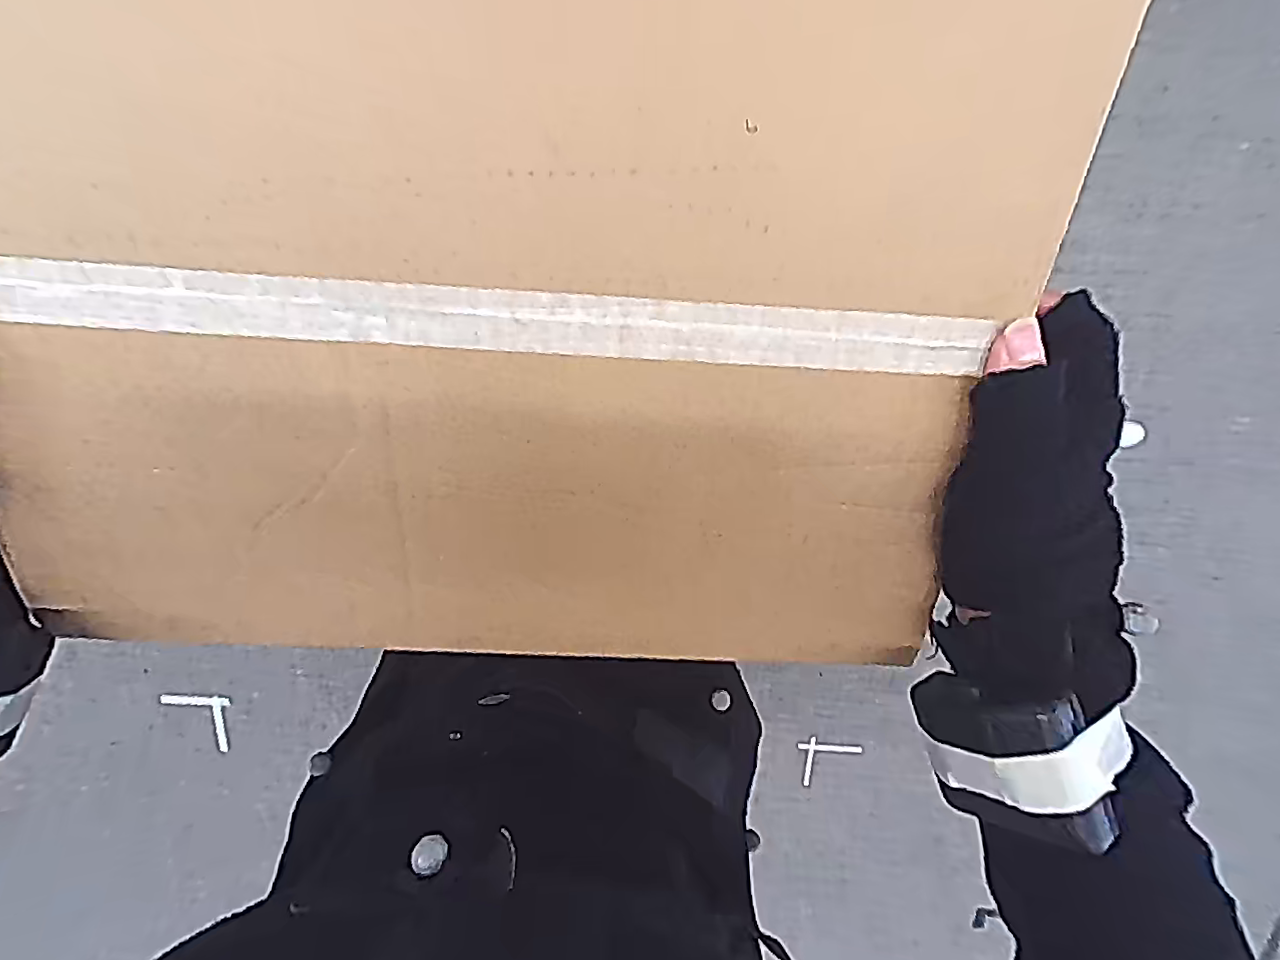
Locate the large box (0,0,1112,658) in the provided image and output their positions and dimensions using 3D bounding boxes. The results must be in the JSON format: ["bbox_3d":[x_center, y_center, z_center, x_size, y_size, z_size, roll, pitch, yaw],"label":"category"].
[{"bbox_3d":[-0.062,-0.114,0.342,0.408,0.320,0.320,3,114,-3],"label":"large box"}]
